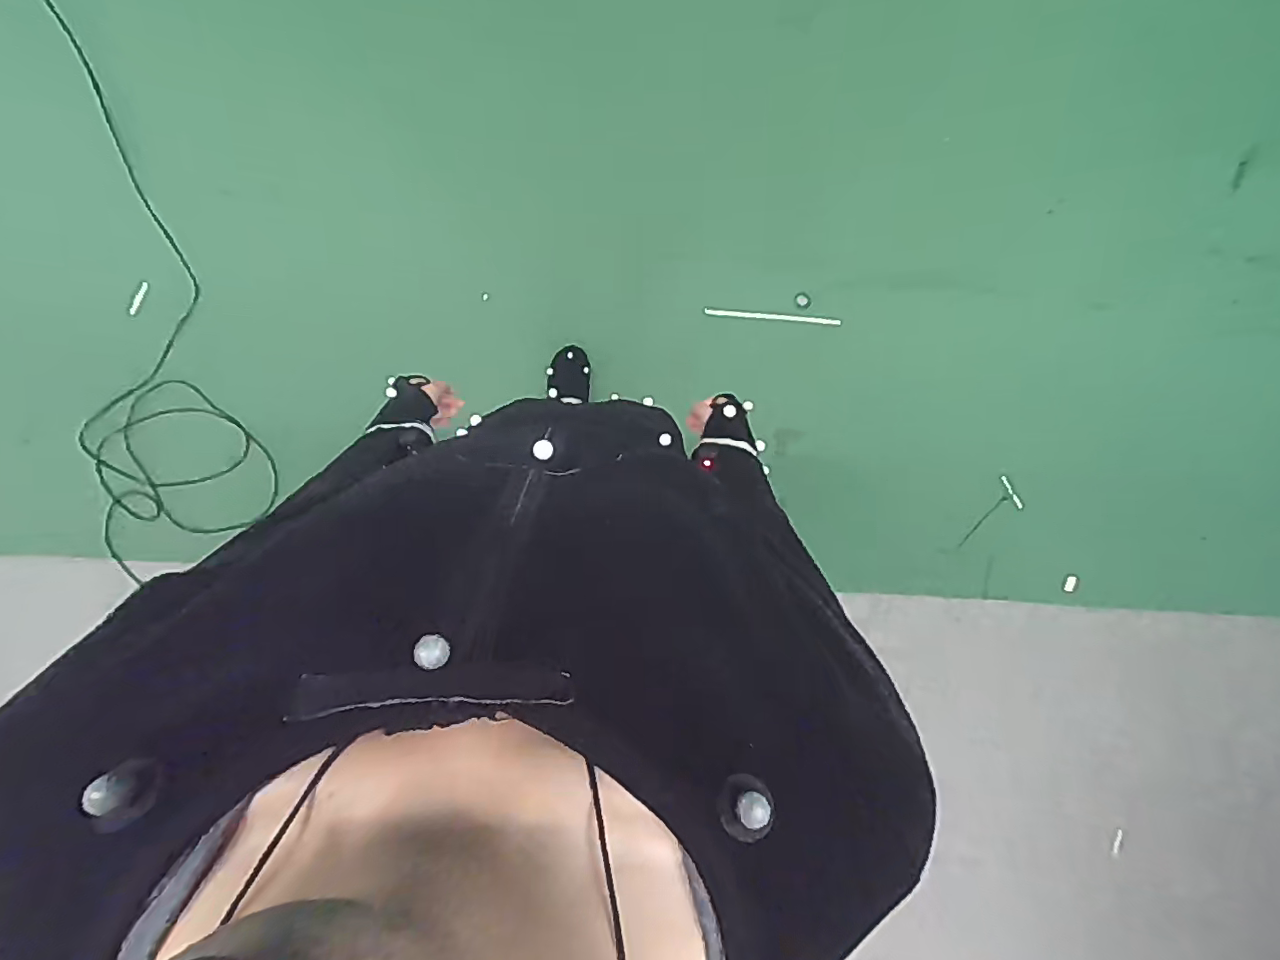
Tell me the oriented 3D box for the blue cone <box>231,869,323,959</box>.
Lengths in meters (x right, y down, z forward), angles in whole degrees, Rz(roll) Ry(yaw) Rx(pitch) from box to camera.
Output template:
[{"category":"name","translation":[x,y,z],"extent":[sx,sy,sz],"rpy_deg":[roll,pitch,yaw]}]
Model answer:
[{"category":"blue cone","translation":[-1.079,1.330,1.494],"extent":[0.193,0.380,0.192],"rpy_deg":[-40,103,6]}]
